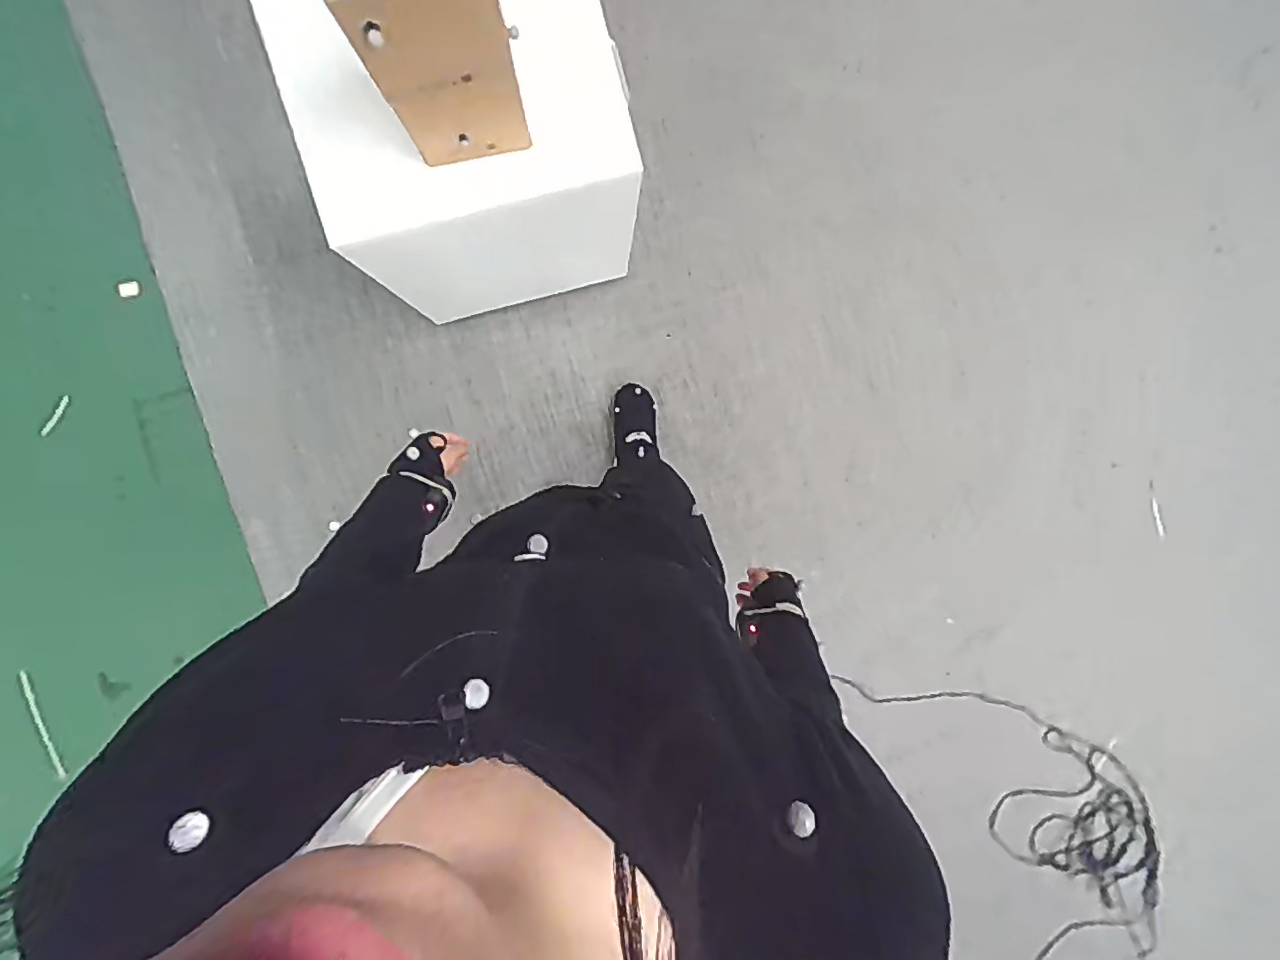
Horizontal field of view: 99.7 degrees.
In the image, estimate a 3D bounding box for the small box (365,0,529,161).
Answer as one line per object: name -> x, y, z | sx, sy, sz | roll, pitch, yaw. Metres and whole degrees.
small box -> -0.258, -0.580, 0.743 | 0.168, 0.176, 0.179 | -13, 94, -4
